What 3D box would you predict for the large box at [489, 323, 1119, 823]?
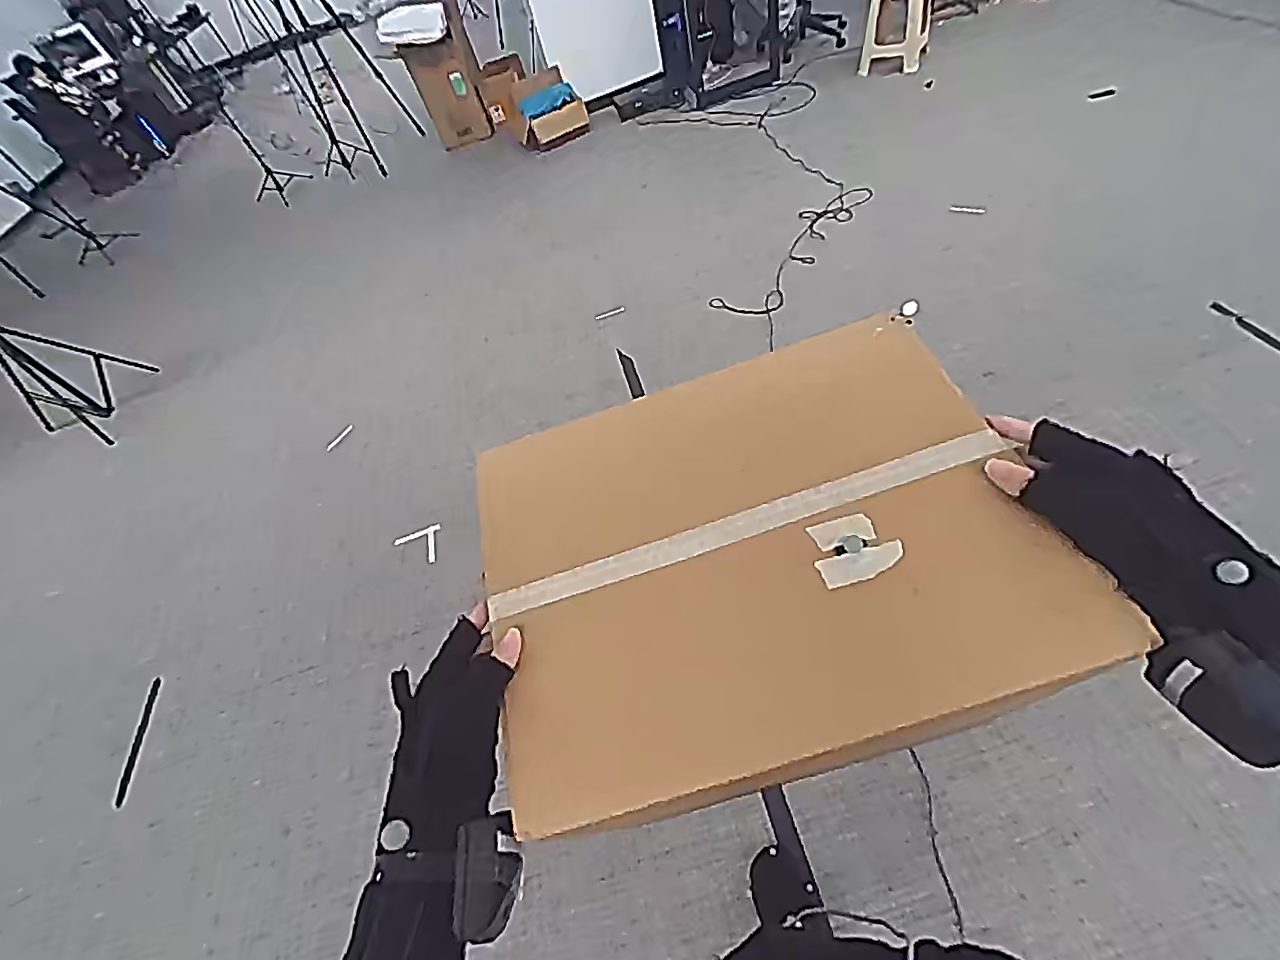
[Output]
[{"bbox_3d":[0.109,0.115,0.550,0.408,0.320,0.320,-19,57,2],"label":"large box"}]
